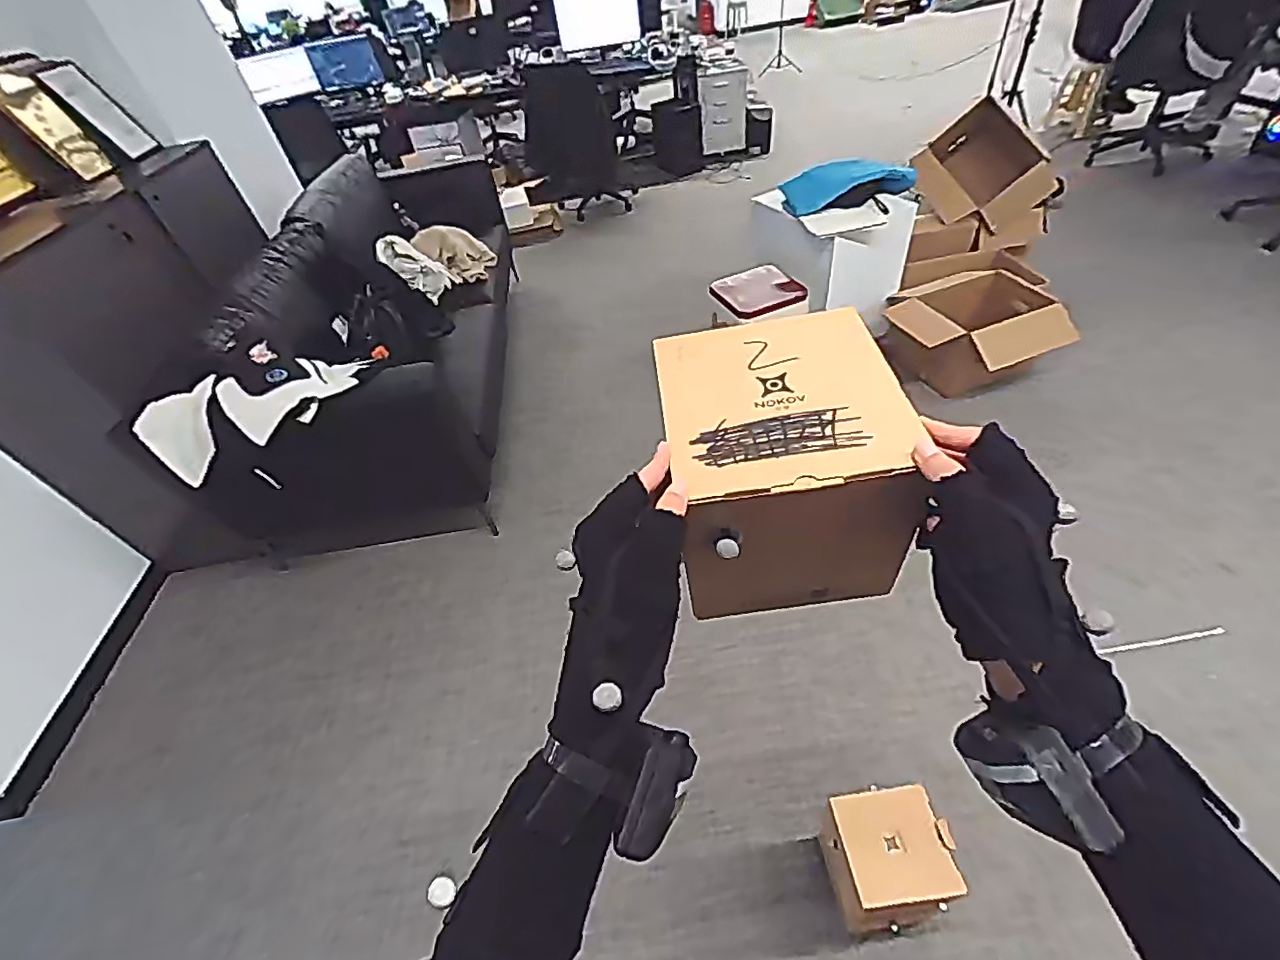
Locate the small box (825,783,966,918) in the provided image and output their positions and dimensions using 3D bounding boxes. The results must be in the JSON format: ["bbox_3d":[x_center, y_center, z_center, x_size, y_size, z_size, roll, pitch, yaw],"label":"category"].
[{"bbox_3d":[0.452,0.682,0.993,0.179,0.176,0.168,-9,45,1],"label":"small box"}]
